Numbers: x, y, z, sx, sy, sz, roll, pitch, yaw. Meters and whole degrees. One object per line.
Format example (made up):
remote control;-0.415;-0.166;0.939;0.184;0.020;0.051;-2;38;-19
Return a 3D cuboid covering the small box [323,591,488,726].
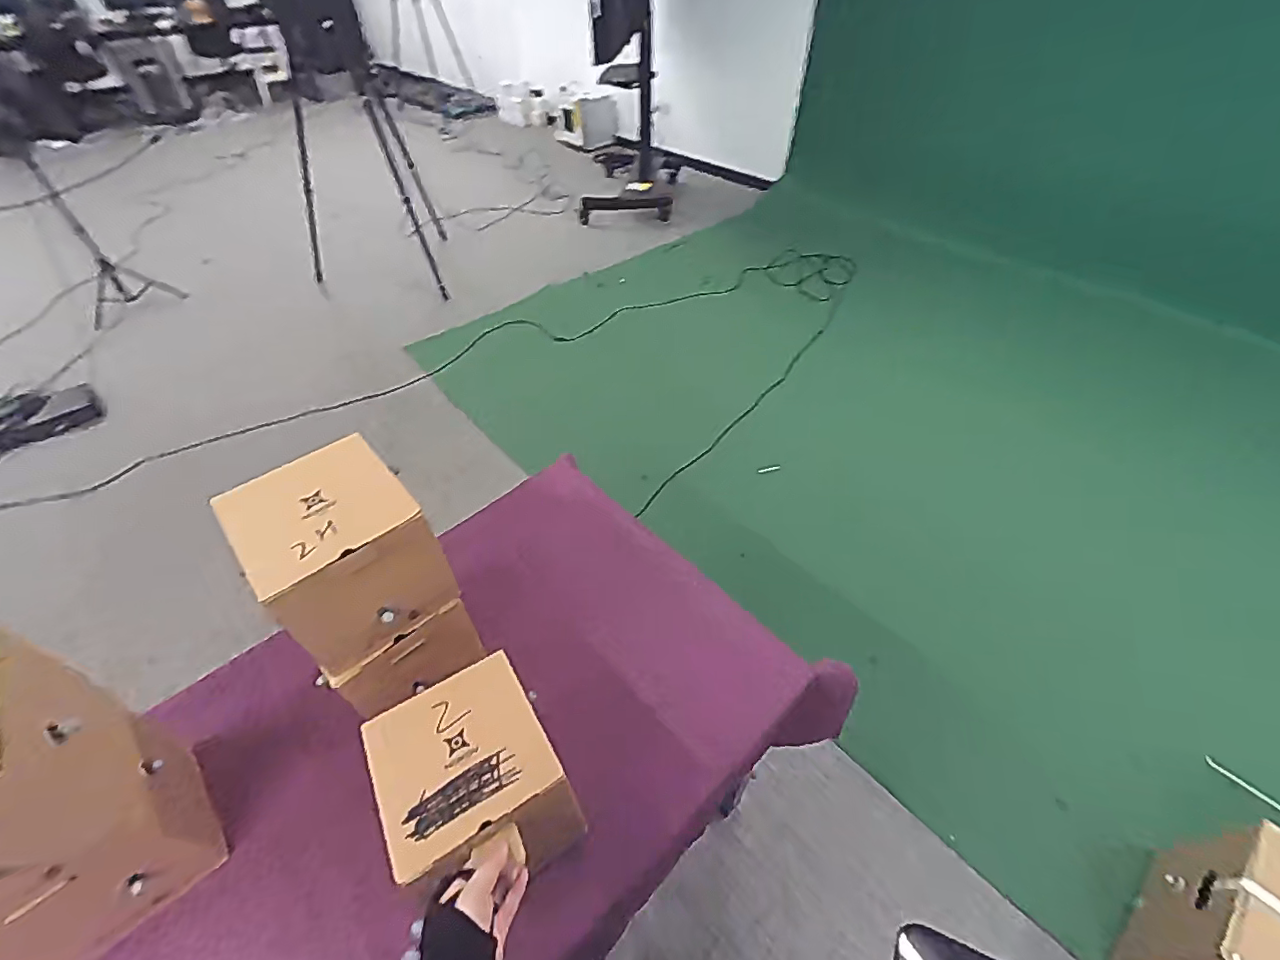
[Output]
small box;-0.341;0.204;0.757;0.168;0.176;0.179;-37;57;-28

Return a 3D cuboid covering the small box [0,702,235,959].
small box;-0.590;0.386;0.591;0.168;0.176;0.179;-34;54;-28

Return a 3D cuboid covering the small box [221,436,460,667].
small box;-0.343;0.084;0.643;0.168;0.176;0.179;-34;56;-27
